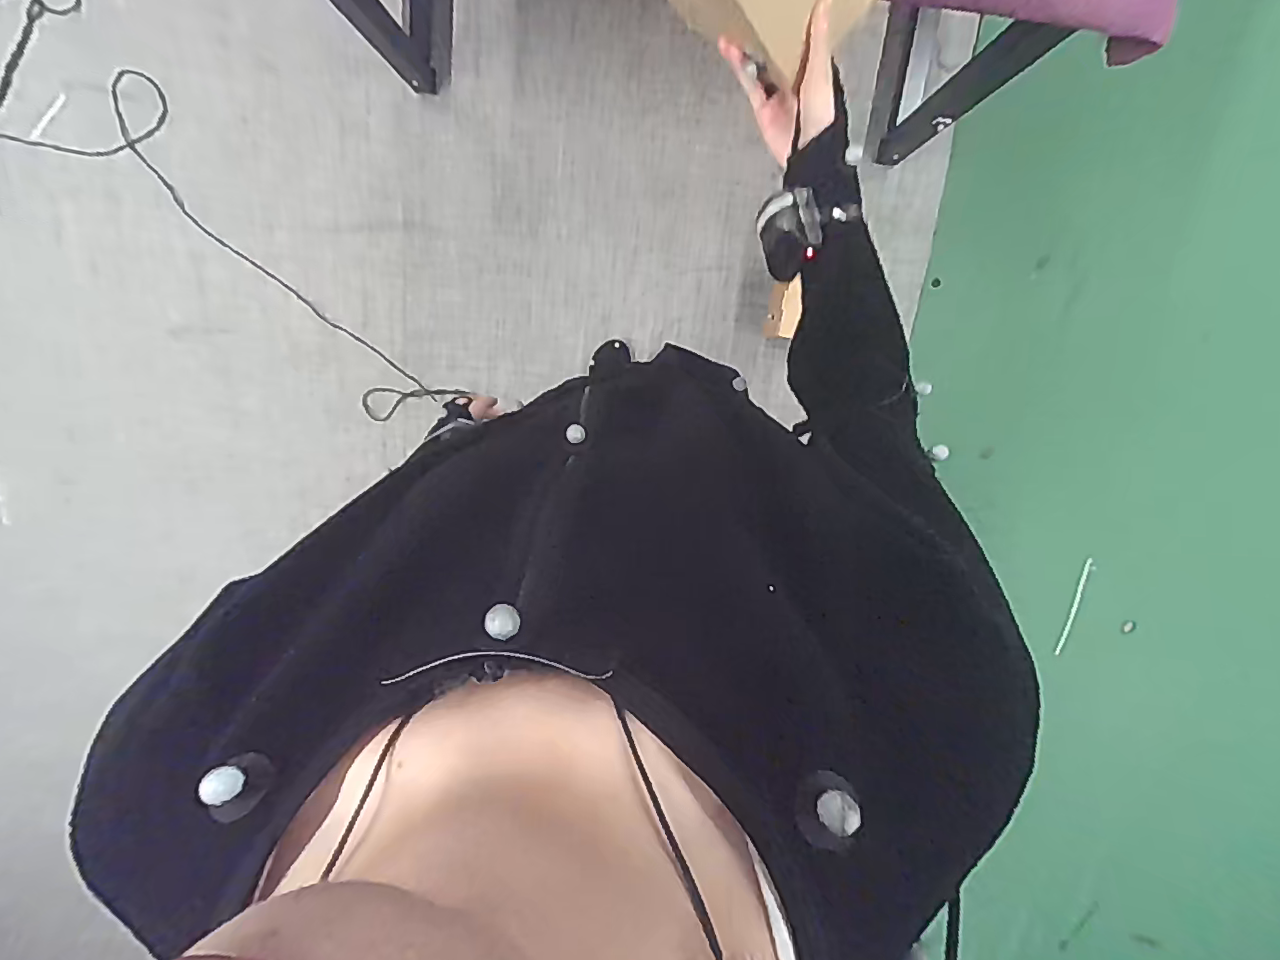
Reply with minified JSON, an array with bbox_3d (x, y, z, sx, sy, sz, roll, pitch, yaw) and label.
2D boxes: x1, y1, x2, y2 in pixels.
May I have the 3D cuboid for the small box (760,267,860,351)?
[{"bbox_3d":[0.411,-0.416,1.339,0.179,0.176,0.168,10,104,-2],"label":"small box"}]

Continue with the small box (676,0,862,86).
[{"bbox_3d":[0.087,-0.448,0.392,0.168,0.179,0.176,-49,66,27],"label":"small box"}]
